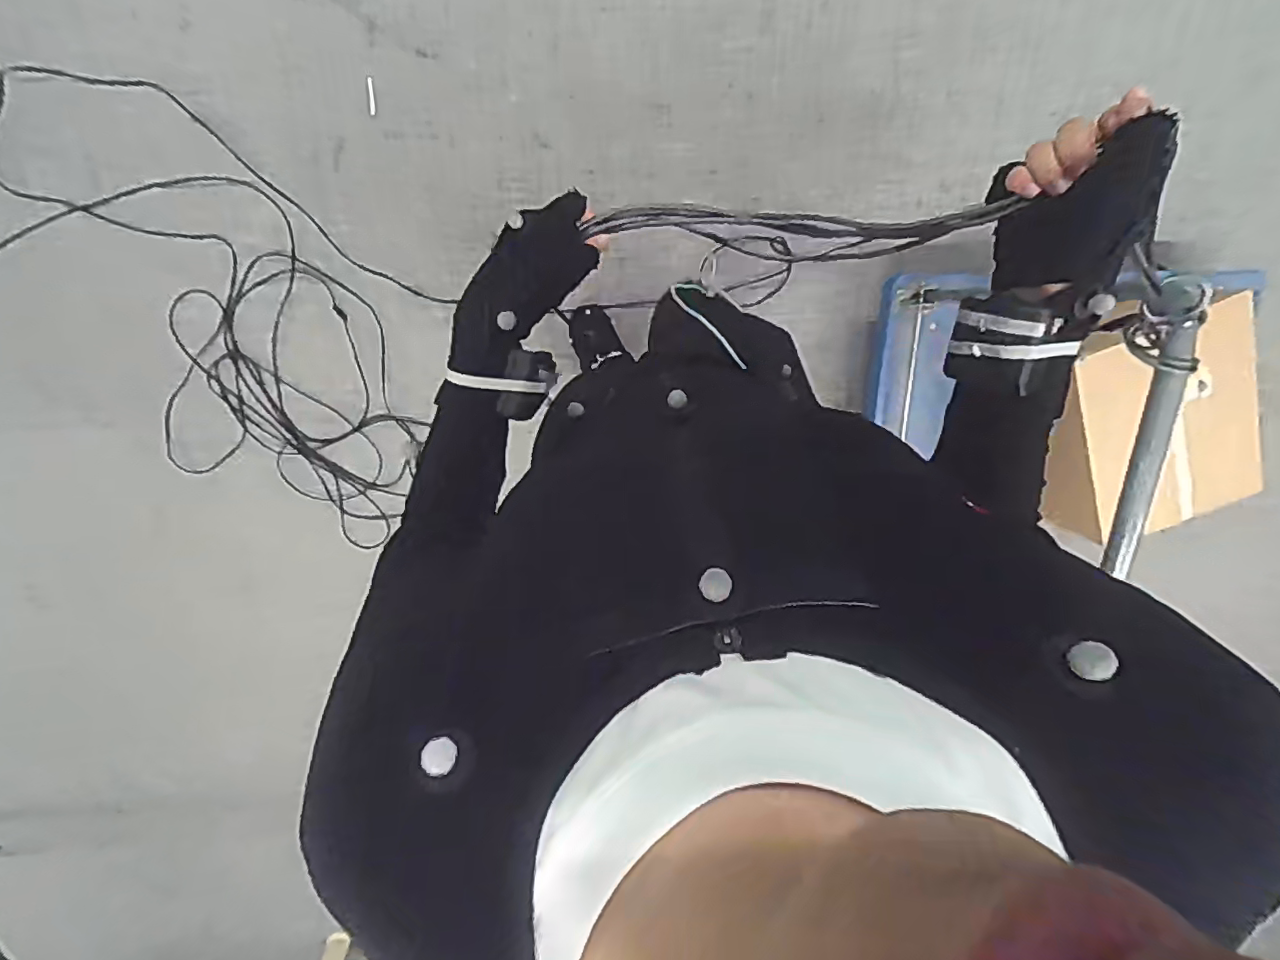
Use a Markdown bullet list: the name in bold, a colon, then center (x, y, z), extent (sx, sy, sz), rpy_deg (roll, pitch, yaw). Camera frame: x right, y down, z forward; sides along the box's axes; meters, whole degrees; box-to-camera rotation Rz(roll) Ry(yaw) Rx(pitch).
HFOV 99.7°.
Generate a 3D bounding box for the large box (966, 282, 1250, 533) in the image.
- **large box**: center (0.973, -0.162, 1.158), extent (0.320, 0.320, 0.408), rpy_deg (-22, 106, 4)
